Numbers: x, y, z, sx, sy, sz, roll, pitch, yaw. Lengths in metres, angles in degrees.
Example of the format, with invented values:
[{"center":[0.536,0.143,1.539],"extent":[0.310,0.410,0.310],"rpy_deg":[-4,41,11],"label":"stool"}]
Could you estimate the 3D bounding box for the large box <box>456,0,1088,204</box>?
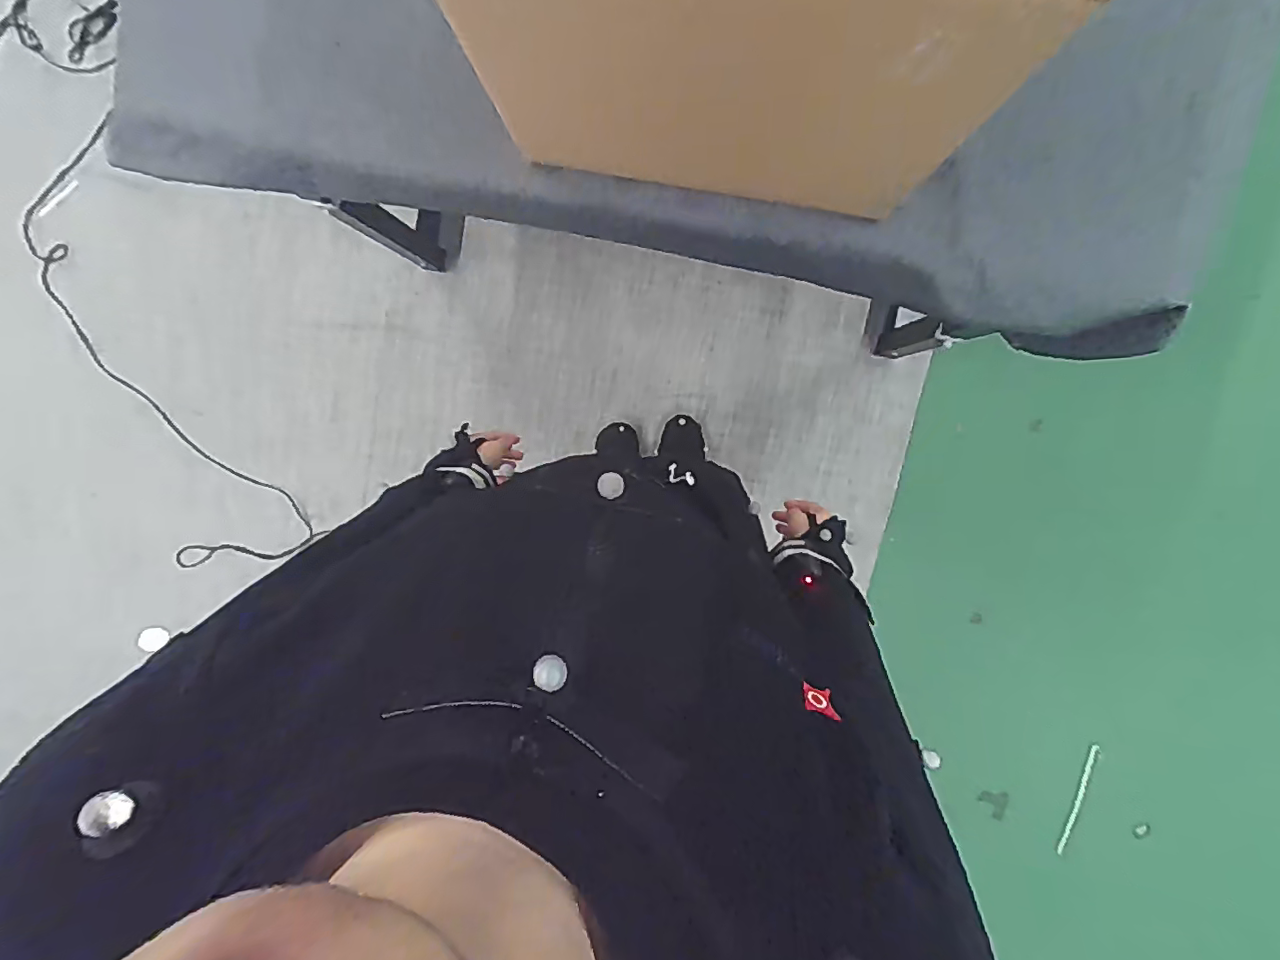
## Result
[{"center":[0.086,-0.461,0.432],"extent":[0.408,0.320,0.320],"rpy_deg":[9,97,0],"label":"large box"}]
